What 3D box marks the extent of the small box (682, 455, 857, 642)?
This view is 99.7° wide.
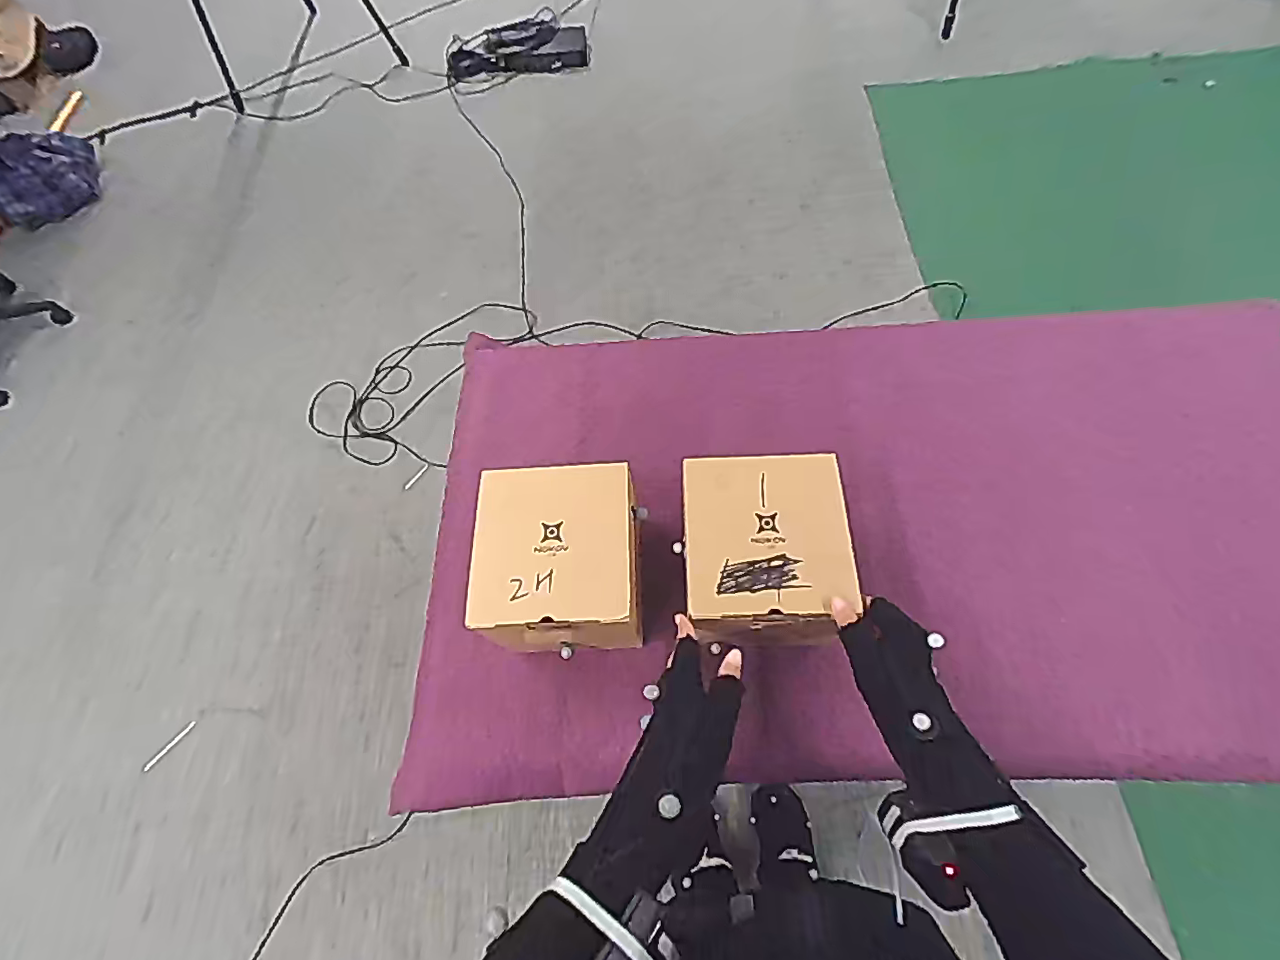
[{"bbox_3d":[0.135,0.088,0.627,0.168,0.176,0.179,-2,63,4],"label":"small box"}]

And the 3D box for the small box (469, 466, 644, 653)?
[{"bbox_3d":[-0.085,0.100,0.641,0.168,0.176,0.179,-3,64,4],"label":"small box"}]
